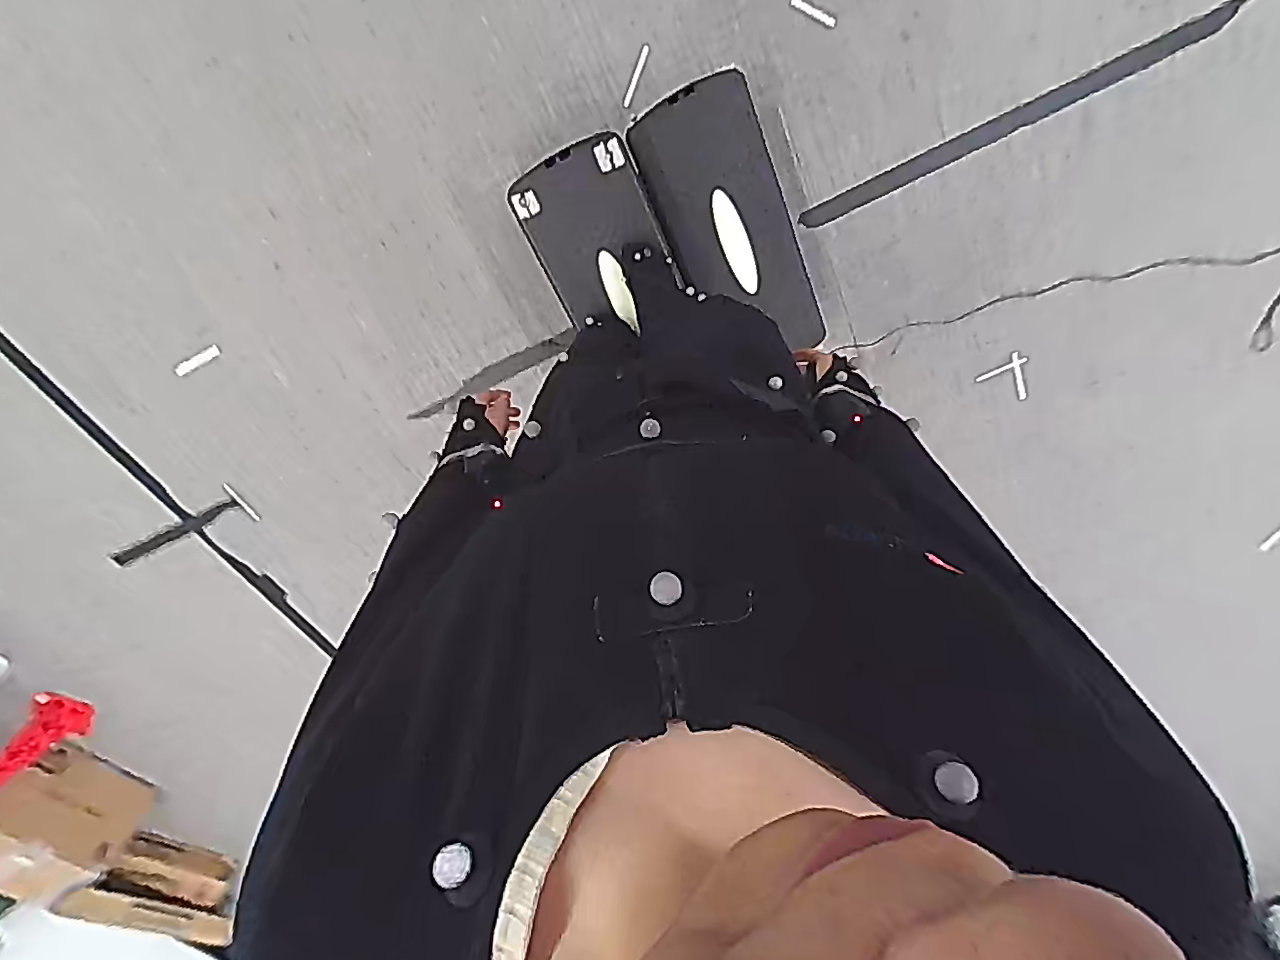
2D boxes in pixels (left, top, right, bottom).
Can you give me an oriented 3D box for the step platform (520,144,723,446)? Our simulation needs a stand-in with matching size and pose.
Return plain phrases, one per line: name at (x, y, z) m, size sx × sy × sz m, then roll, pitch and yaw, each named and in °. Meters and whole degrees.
step platform at (-0.026, -0.425, 1.337) m, size 0.286 × 0.204 × 0.684 m, roll -20°, pitch 113°, yaw 8°
